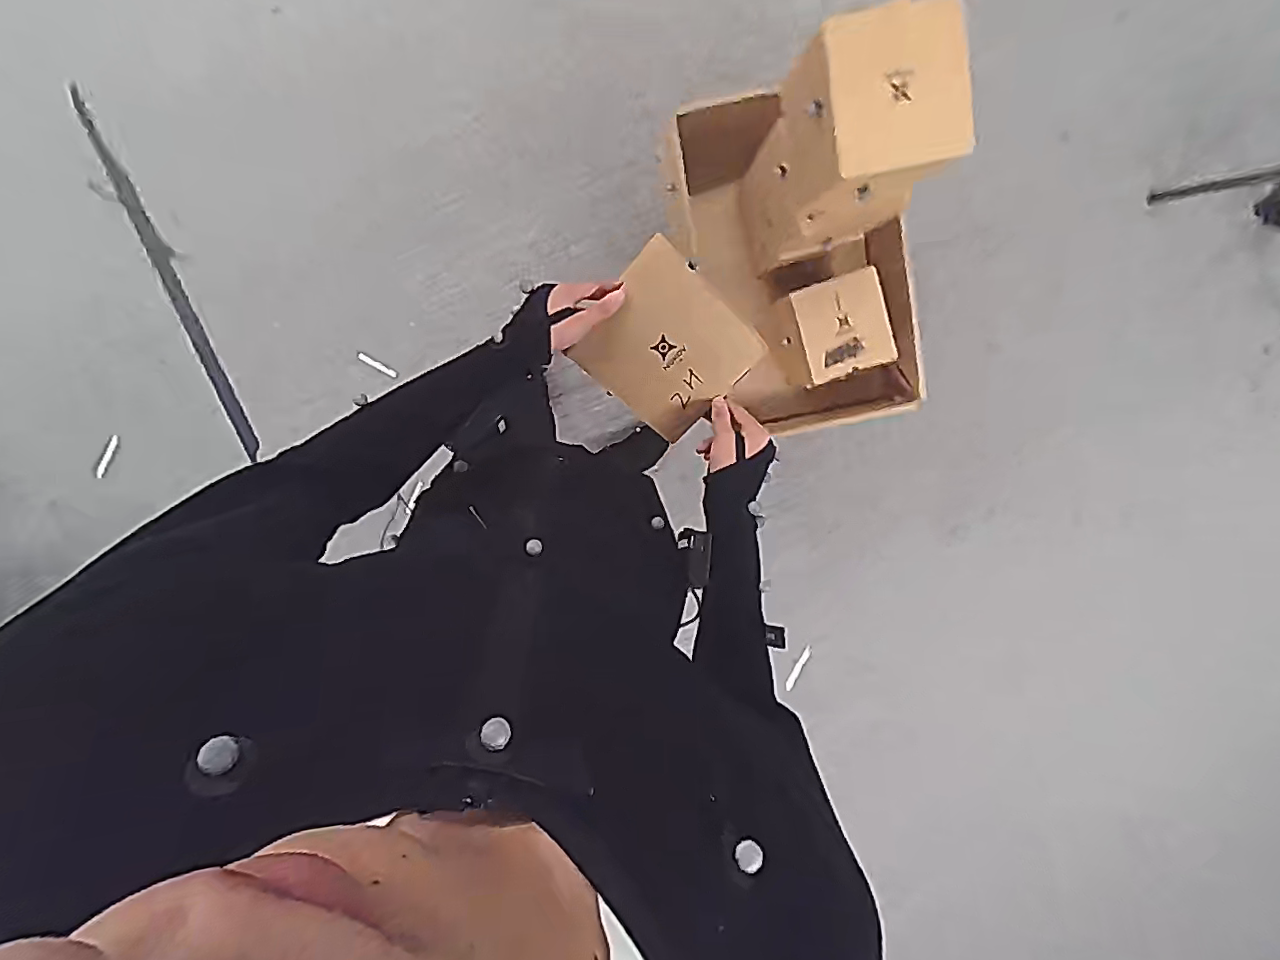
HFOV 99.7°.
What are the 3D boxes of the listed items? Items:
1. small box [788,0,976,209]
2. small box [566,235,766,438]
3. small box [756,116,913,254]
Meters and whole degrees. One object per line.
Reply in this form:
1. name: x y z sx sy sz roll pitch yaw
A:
1. small box: 0.305 -0.475 0.710 0.168 0.176 0.179 -11 101 1
2. small box: 0.029 -0.191 0.695 0.179 0.176 0.168 38 113 -18
3. small box: 0.306 -0.484 0.874 0.179 0.176 0.168 -14 101 1
